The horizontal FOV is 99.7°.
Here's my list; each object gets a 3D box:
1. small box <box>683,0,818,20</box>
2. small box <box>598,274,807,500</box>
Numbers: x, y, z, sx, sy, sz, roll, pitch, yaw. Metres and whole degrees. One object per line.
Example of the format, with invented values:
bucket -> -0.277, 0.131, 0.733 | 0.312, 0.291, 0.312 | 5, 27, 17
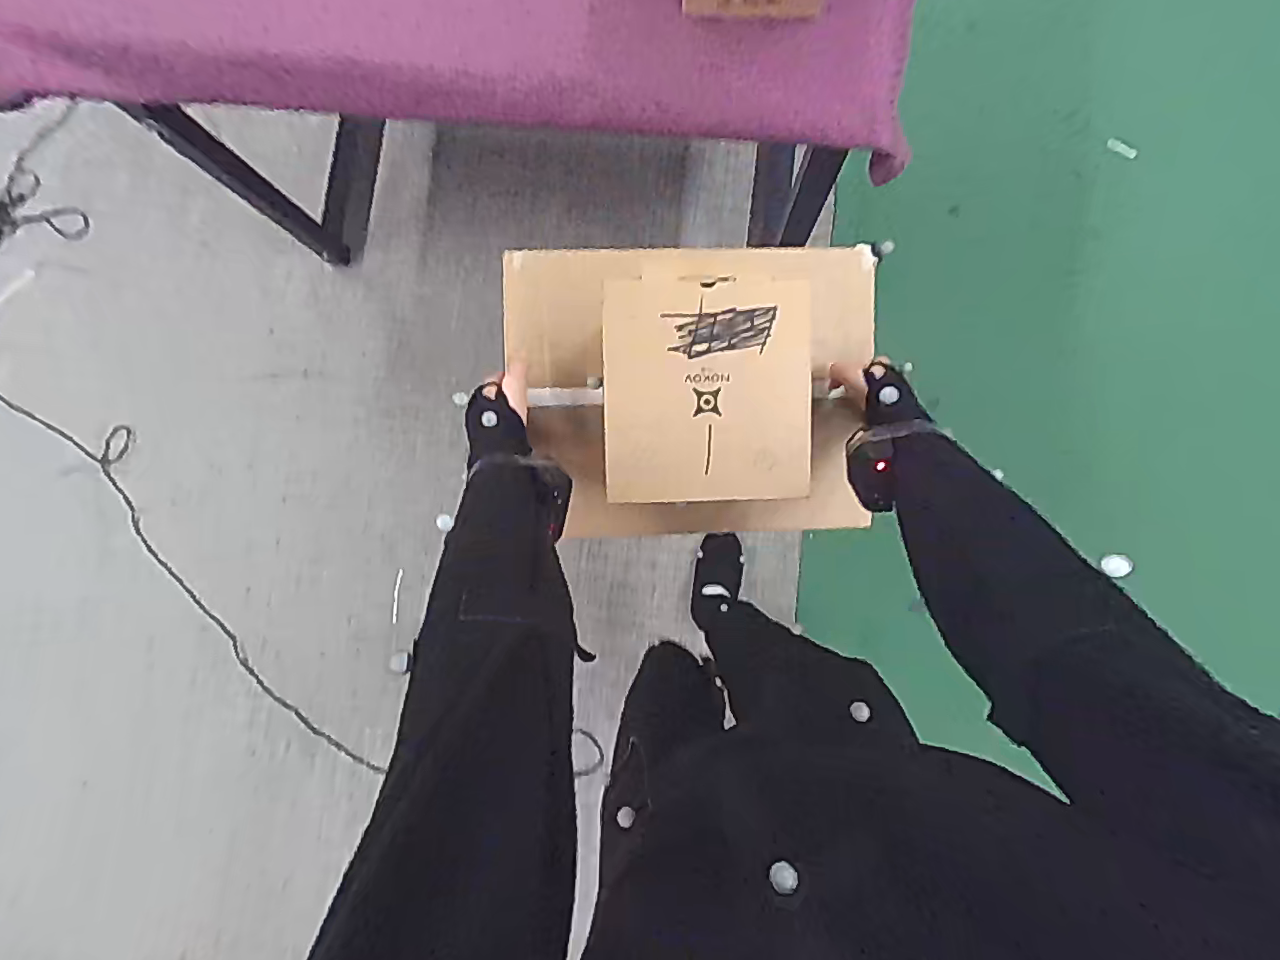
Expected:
small box -> 0.130, -0.653, 0.582 | 0.168, 0.176, 0.179 | 4, 85, 6
small box -> 0.044, -0.076, 0.500 | 0.168, 0.176, 0.179 | -1, 95, -3
